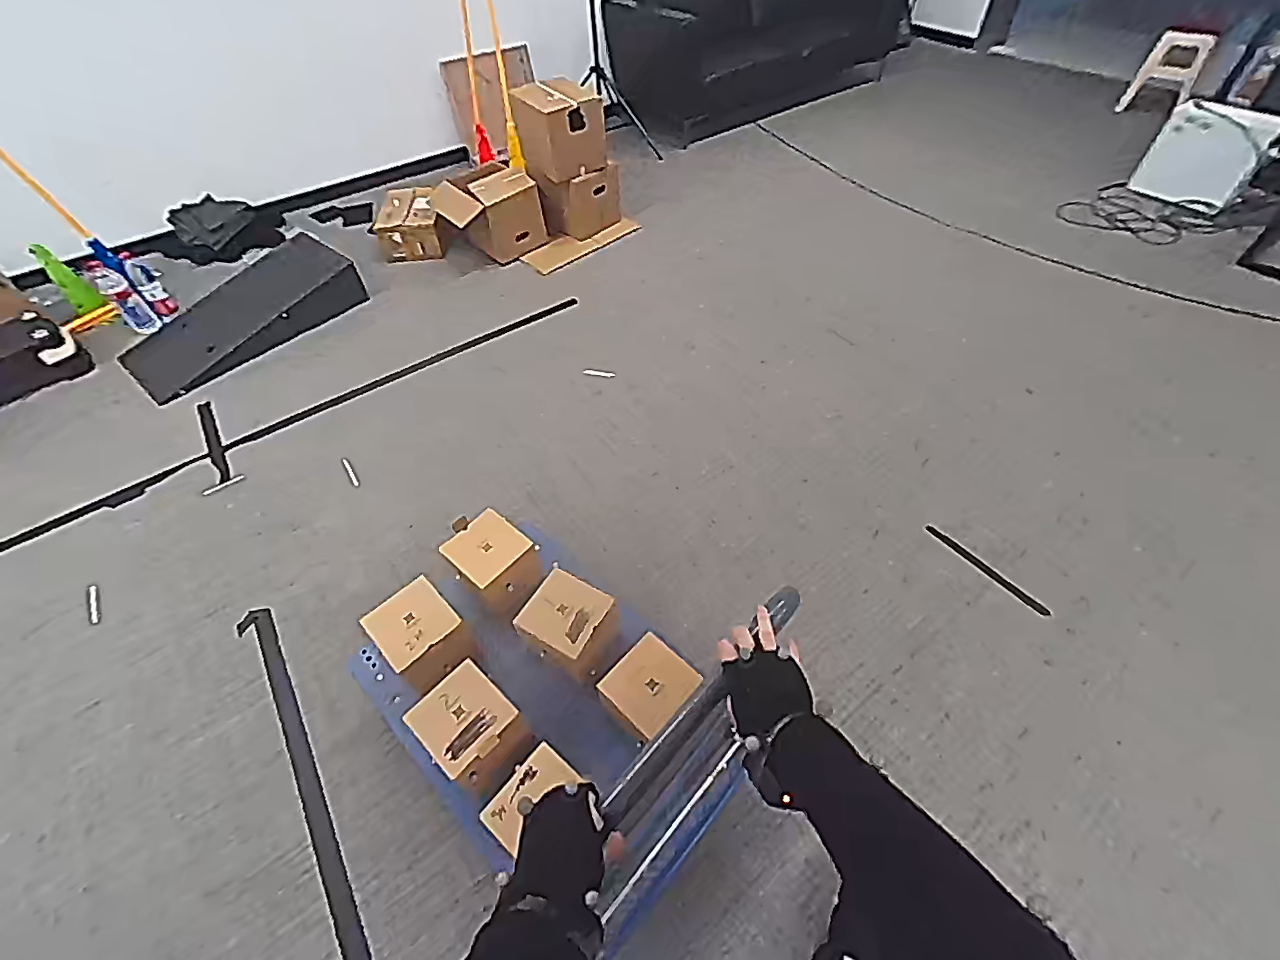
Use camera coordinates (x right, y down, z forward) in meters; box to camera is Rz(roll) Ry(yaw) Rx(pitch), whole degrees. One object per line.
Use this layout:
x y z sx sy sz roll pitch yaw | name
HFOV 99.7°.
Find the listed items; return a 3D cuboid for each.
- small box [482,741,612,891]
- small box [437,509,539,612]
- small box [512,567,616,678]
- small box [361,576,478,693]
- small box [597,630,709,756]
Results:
-0.169 0.645 1.039 0.179 0.176 0.168 32 58 24 | small box
-0.383 0.214 1.394 0.179 0.176 0.168 32 59 24 | small box
-0.170 0.344 1.283 0.179 0.176 0.168 24 56 20 | small box
-0.512 0.367 1.272 0.179 0.176 0.168 37 61 26 | small box
0.029 0.469 1.177 0.179 0.176 0.168 35 59 27 | small box
